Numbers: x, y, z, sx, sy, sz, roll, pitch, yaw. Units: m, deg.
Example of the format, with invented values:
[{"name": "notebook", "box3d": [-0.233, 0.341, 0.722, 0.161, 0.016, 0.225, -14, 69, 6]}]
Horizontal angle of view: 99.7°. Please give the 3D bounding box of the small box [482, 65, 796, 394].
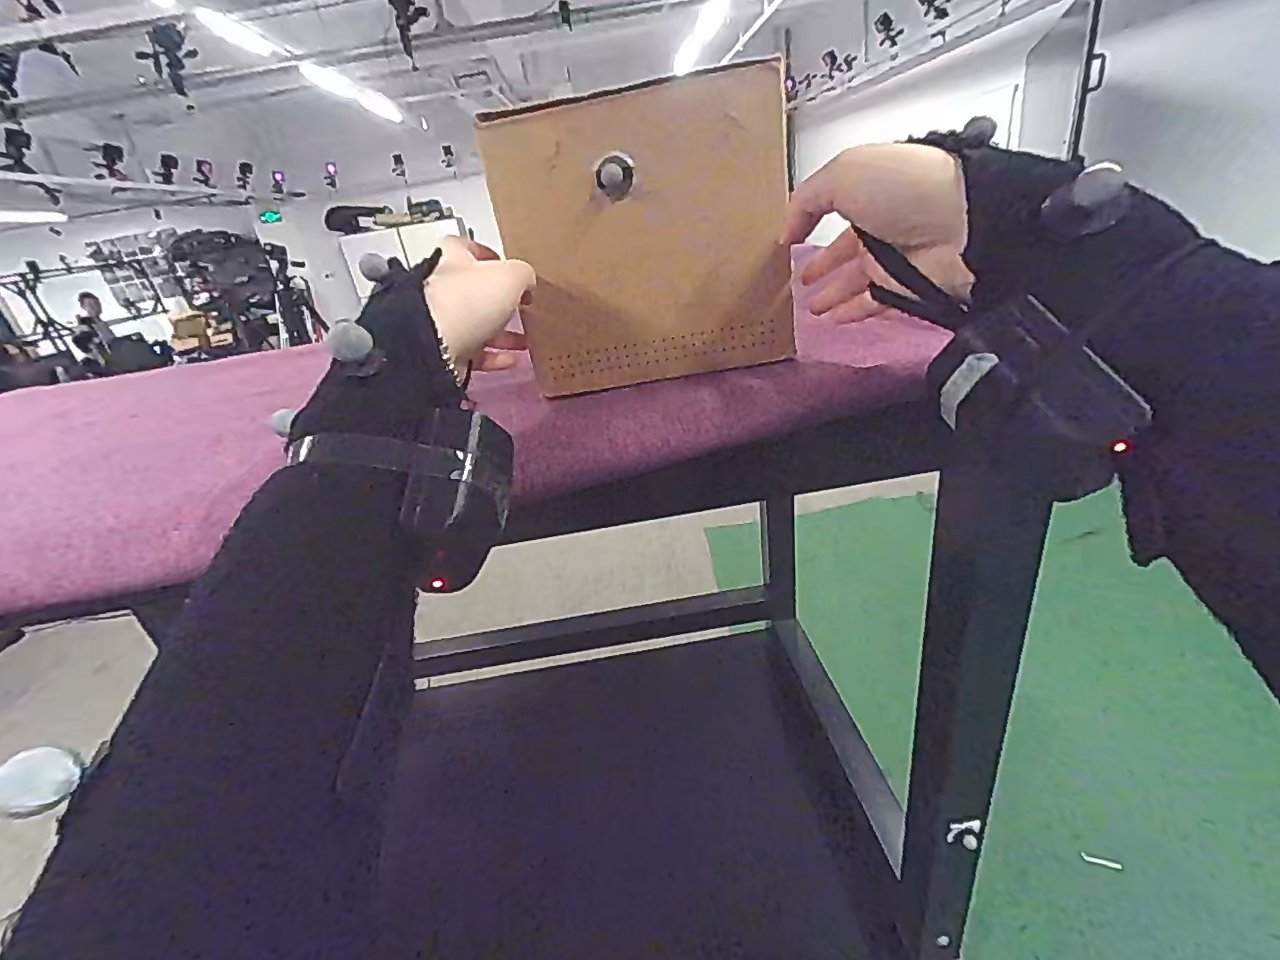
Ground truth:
[{"name": "small box", "box3d": [0.010, -0.170, 0.404, 0.179, 0.176, 0.168, -7, 25, 6]}]
